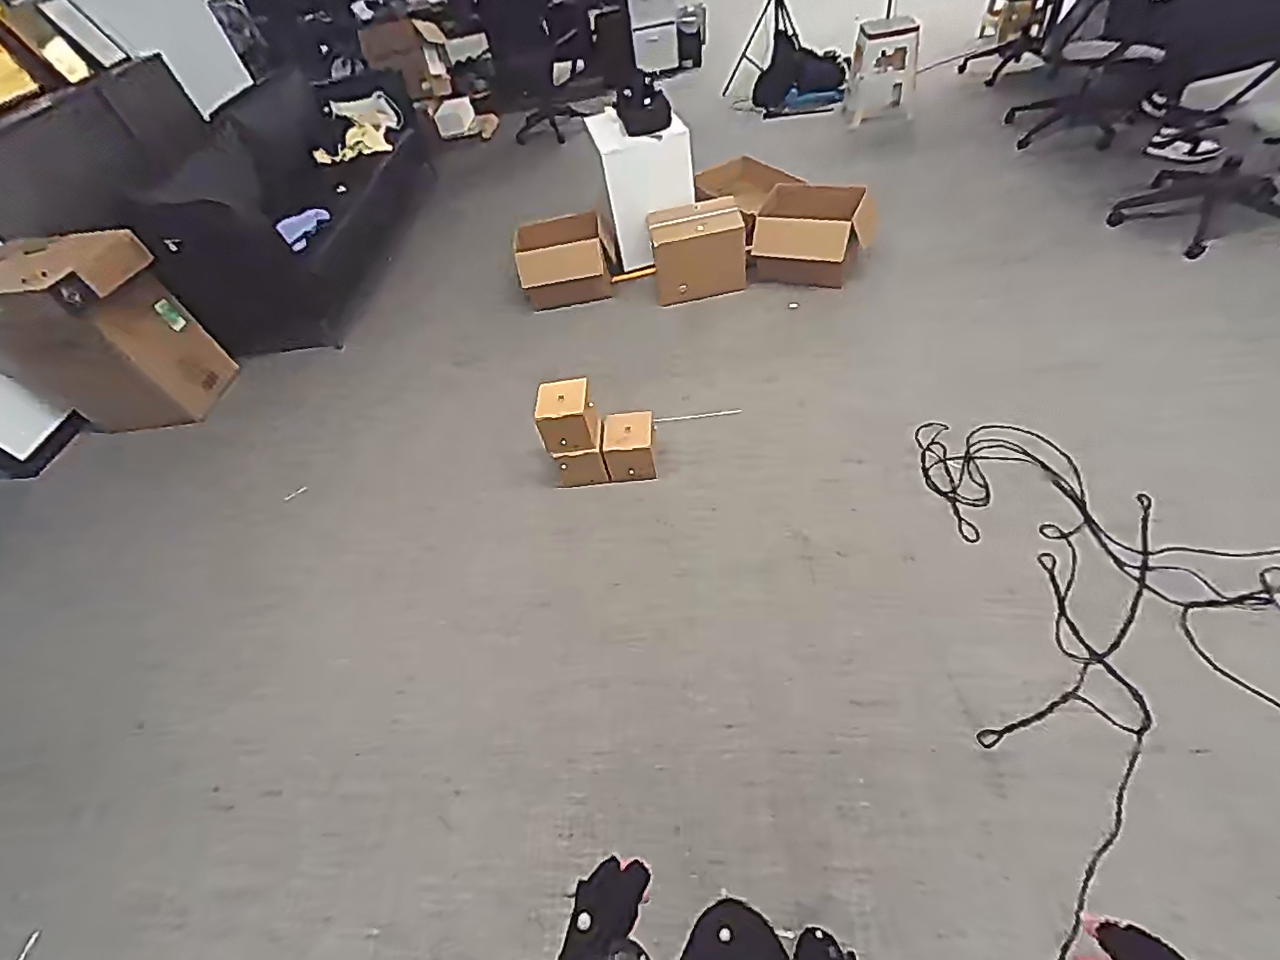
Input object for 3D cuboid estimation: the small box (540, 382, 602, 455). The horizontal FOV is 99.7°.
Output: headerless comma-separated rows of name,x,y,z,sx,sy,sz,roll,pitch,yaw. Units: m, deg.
small box,-0.228,-0.206,1.835,0.168,0.176,0.179,-6,50,7
